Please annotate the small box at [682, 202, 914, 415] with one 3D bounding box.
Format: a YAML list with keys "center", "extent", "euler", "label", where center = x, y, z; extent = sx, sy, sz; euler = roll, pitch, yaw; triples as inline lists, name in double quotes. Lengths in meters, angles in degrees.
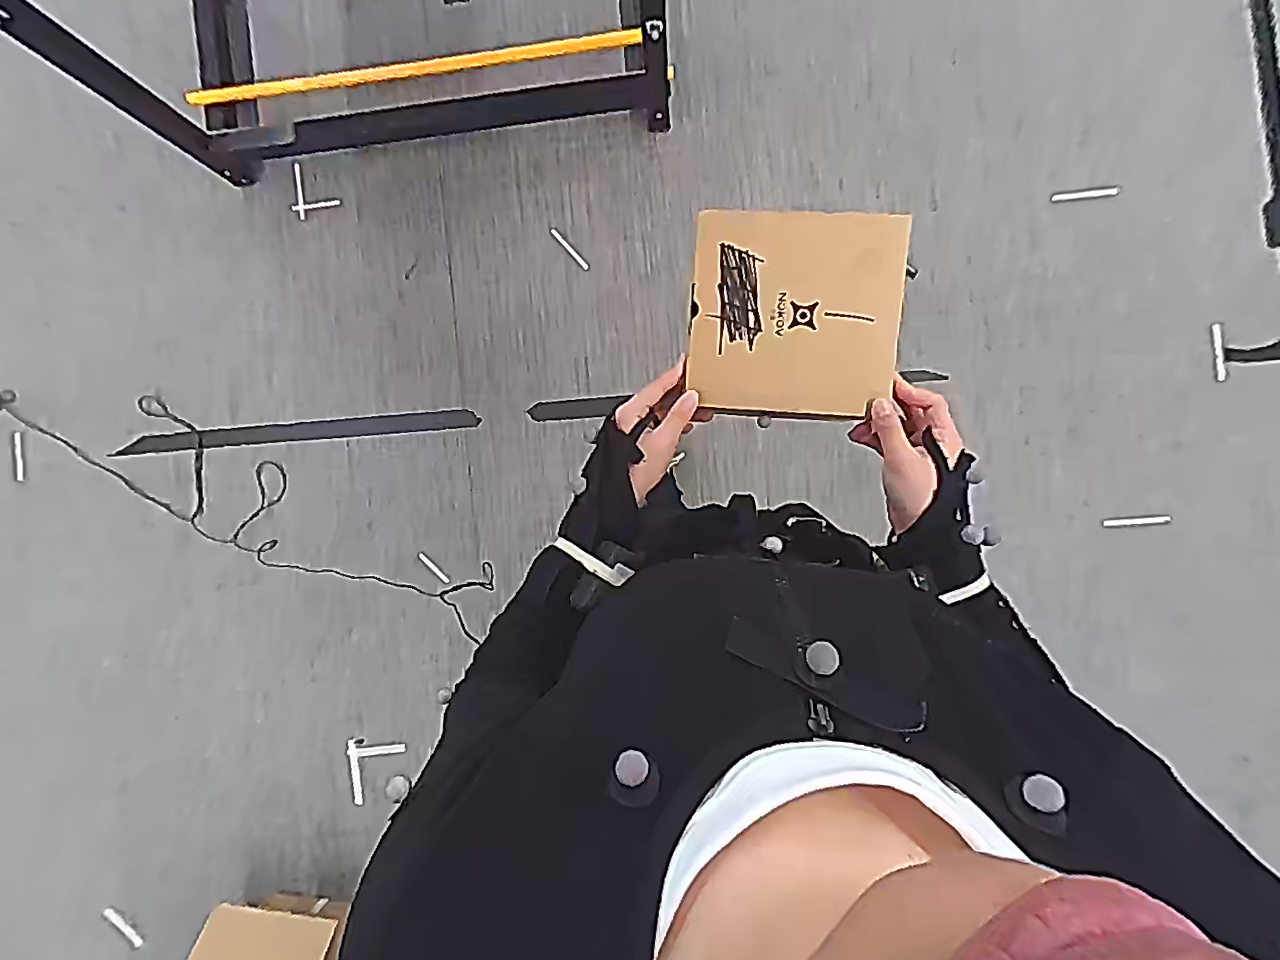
- center: [0.139, -0.152, 0.528]
  extent: [0.179, 0.176, 0.168]
  euler: [5, 97, 7]
  label: "small box"
